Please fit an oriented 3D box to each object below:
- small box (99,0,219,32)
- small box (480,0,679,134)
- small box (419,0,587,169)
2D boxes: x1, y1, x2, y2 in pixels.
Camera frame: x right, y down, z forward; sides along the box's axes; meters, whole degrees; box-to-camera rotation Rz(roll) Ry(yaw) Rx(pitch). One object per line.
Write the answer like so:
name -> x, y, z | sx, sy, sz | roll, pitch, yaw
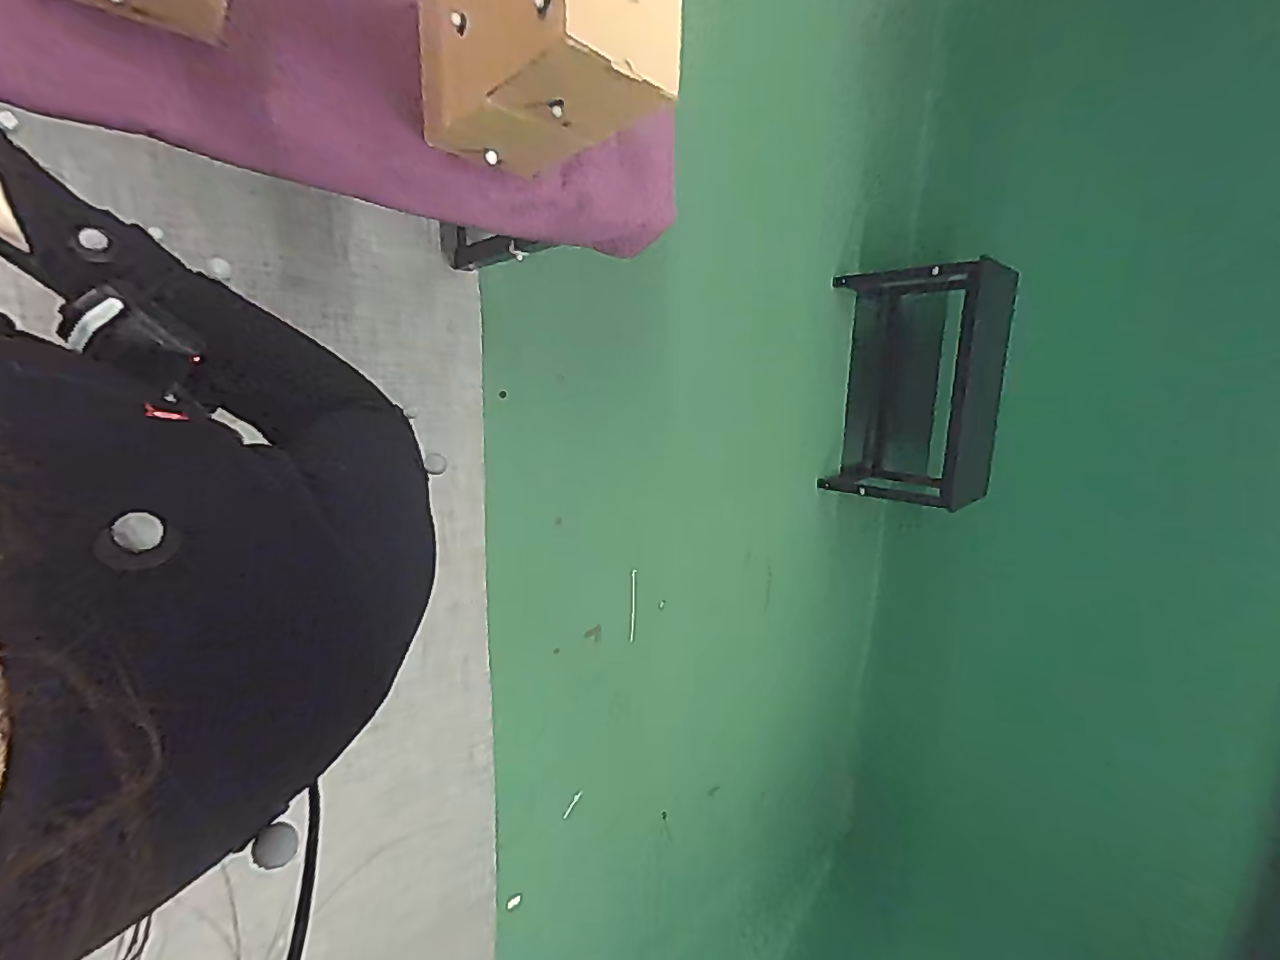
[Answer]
small box -> -0.466, -0.540, 0.454 | 0.168, 0.176, 0.179 | -11, 105, -43
small box -> -0.072, -0.538, 0.619 | 0.168, 0.176, 0.179 | -9, 105, -43
small box -> -0.186, -0.556, 0.732 | 0.168, 0.176, 0.179 | -9, 105, -43
